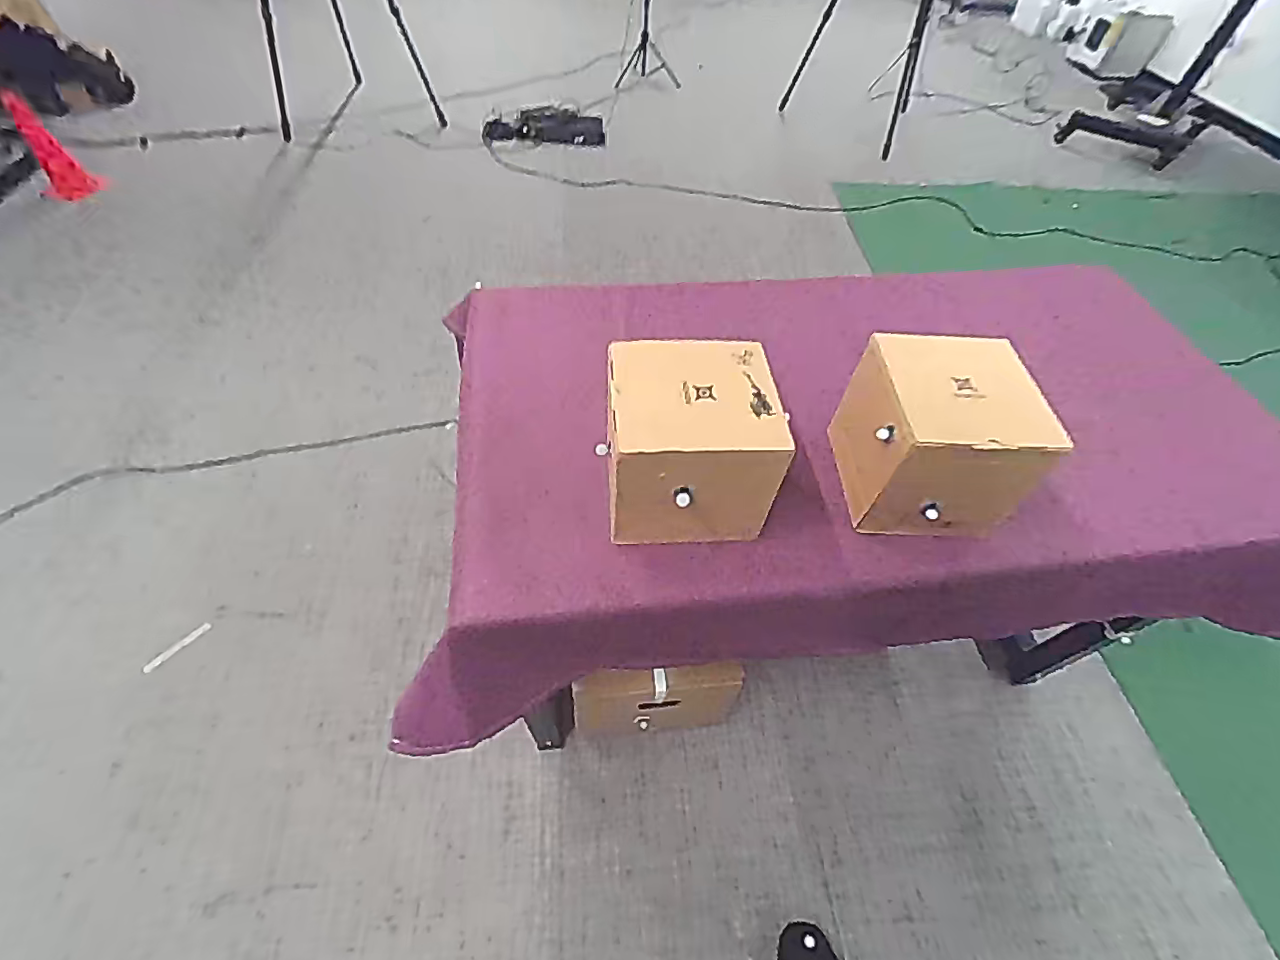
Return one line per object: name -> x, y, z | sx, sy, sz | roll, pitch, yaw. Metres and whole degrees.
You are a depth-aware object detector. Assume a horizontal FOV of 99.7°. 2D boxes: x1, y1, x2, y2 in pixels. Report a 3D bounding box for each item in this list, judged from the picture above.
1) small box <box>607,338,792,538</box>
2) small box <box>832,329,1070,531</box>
small box -> 0.054, -0.044, 0.626 | 0.179, 0.176, 0.168 | -3, 54, -4
small box -> 0.350, -0.058, 0.656 | 0.168, 0.176, 0.179 | 2, 54, -2
